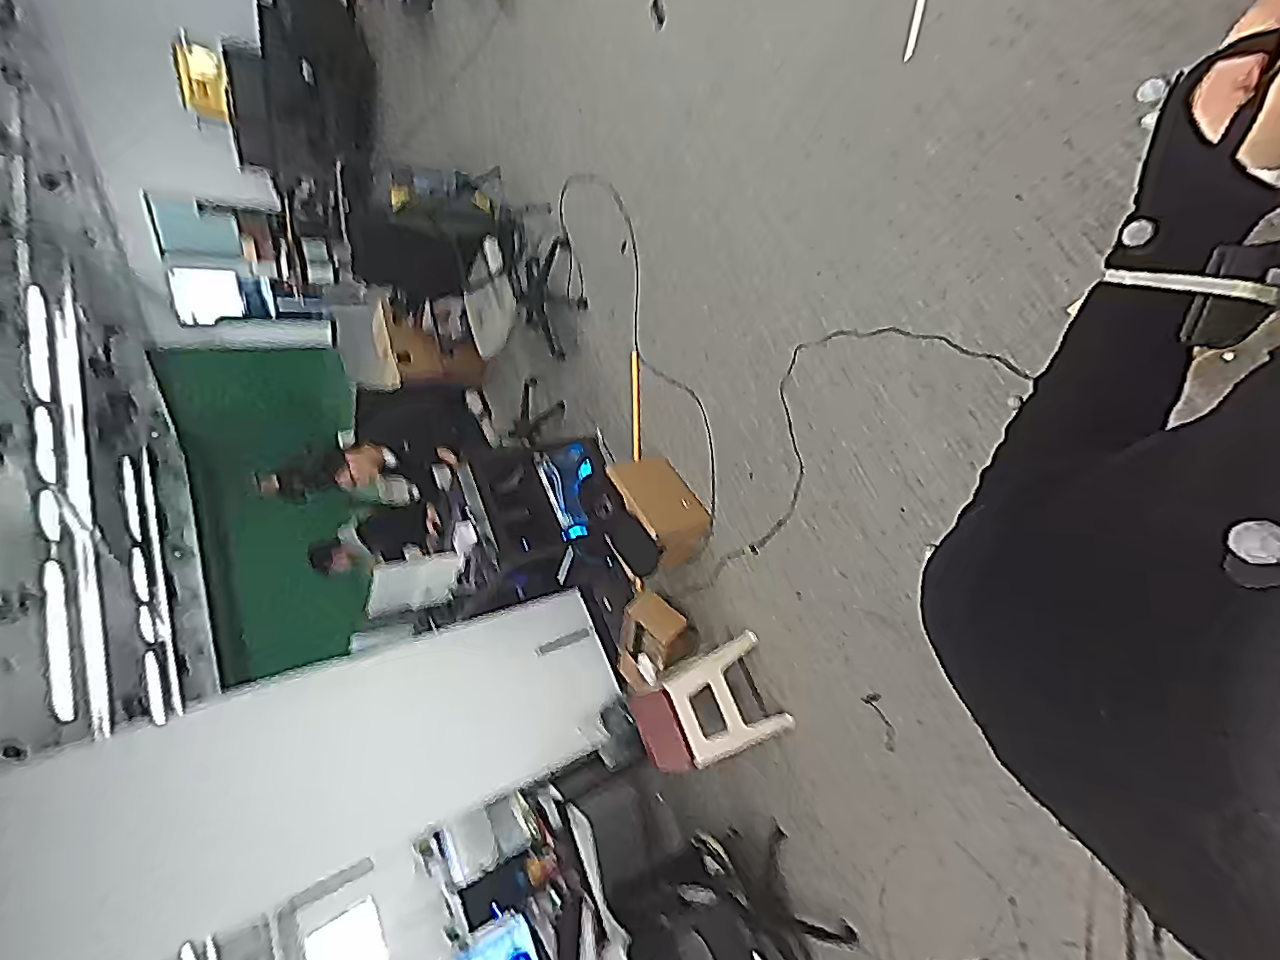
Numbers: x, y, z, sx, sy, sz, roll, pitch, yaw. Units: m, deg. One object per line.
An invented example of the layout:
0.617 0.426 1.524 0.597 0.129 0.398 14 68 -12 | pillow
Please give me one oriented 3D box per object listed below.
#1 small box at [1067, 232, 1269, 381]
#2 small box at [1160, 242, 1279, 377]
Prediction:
0.896 -0.290 0.919 0.168 0.176 0.179 -53 55 45 | small box
1.029 -0.311 1.009 0.168 0.176 0.179 -50 59 48 | small box
